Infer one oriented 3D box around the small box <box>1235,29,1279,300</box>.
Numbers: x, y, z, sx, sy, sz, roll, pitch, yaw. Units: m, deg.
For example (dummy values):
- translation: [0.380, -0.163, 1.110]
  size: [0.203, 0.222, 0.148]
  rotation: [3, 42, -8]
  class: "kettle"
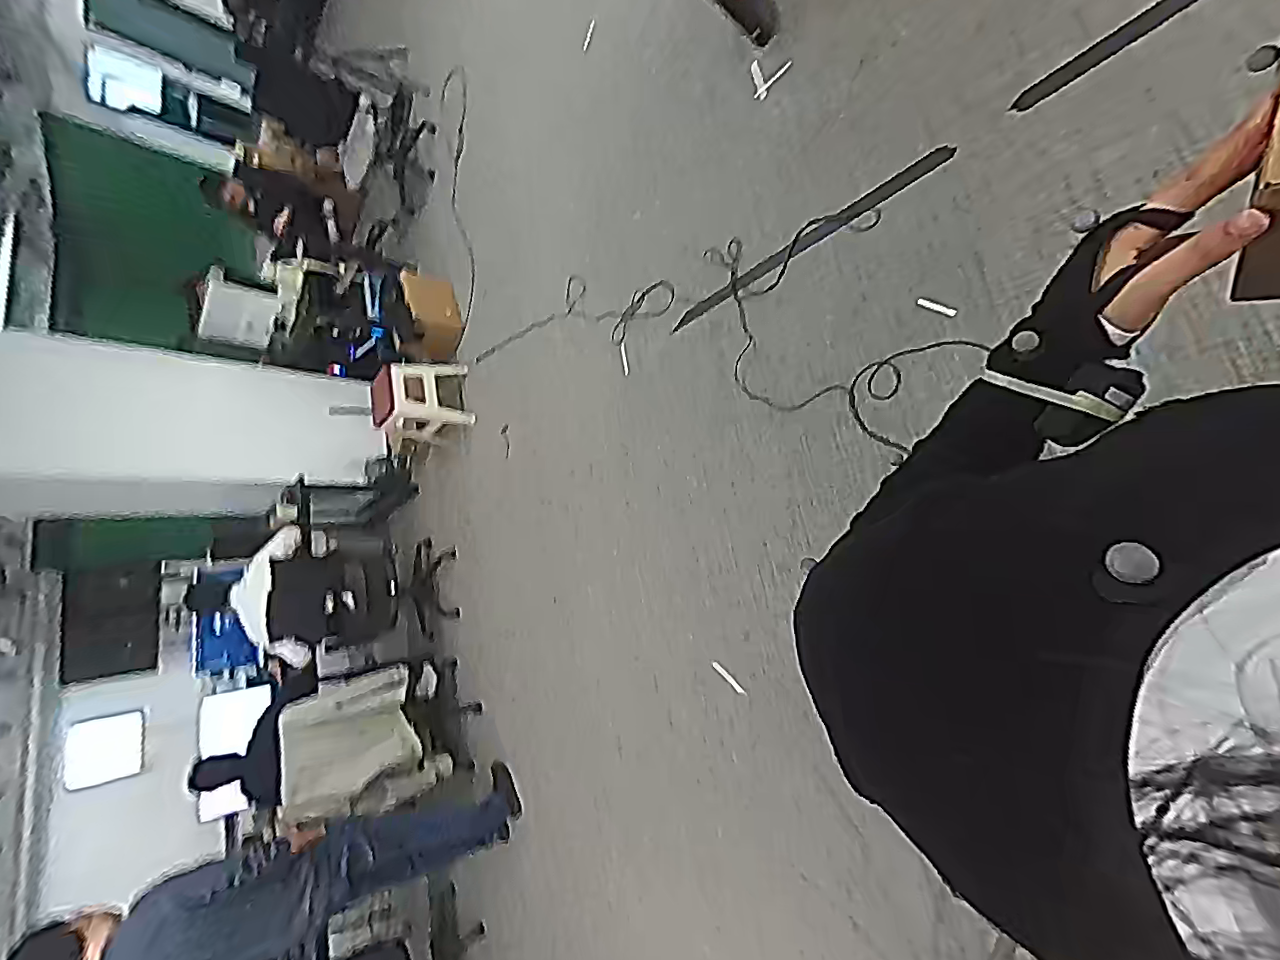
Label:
- translation: [0.437, -0.211, 0.272]
  size: [0.168, 0.176, 0.179]
  rotation: [11, 91, 46]
  class: "small box"
